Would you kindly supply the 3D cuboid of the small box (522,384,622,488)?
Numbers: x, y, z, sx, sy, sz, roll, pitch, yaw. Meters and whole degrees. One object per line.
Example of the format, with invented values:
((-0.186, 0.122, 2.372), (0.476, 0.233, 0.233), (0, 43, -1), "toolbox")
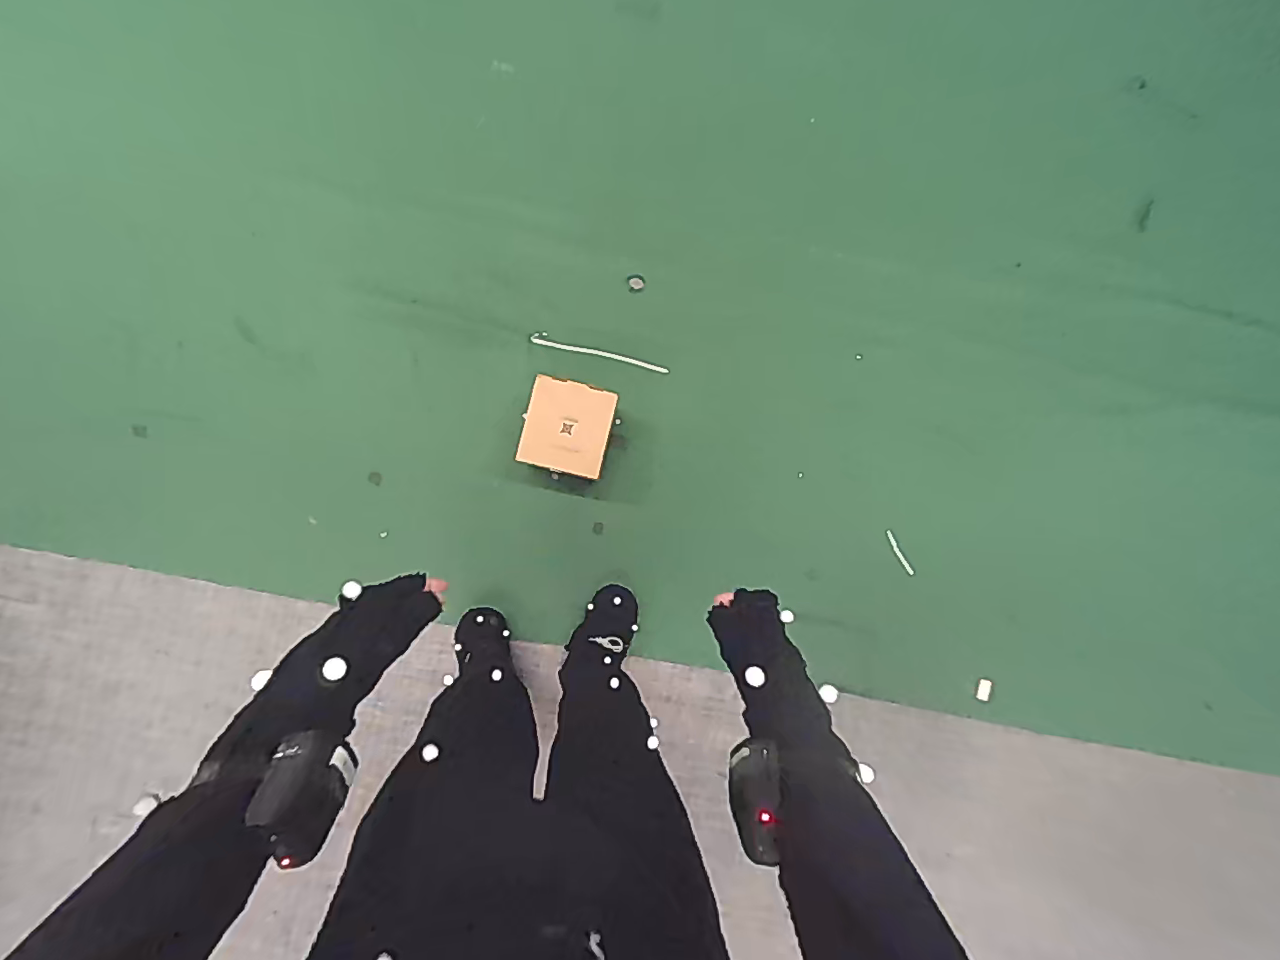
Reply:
((-0.138, -0.085, 1.139), (0.168, 0.176, 0.179), (13, 88, -2), "small box")
